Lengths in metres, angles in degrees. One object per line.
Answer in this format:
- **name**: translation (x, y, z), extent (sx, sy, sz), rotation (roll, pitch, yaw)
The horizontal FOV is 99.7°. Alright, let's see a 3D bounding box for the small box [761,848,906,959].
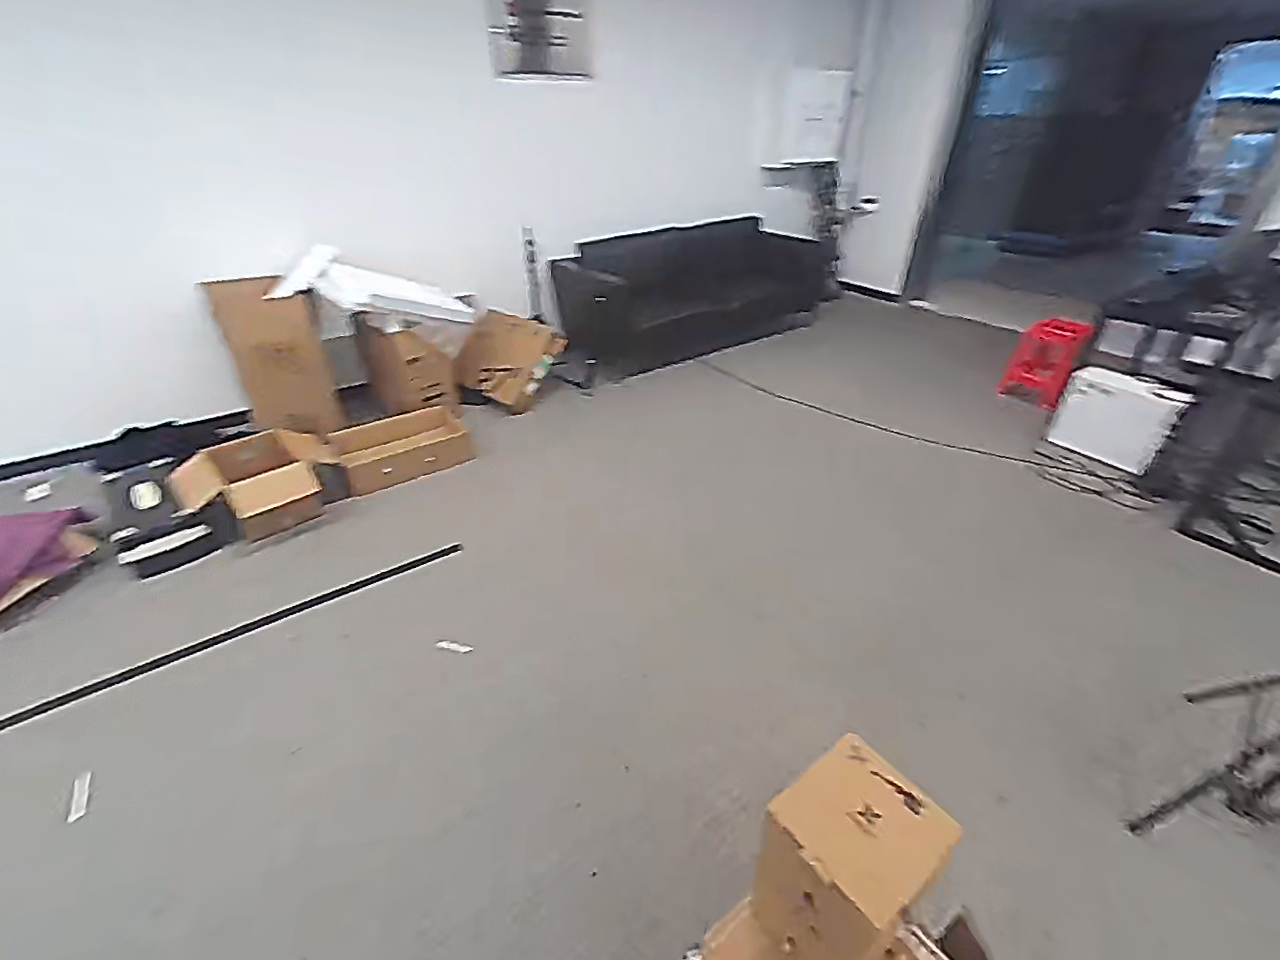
- **small box**: translation (0.299, 0.618, 0.818), extent (0.179, 0.176, 0.168), rotation (-25, 38, -28)

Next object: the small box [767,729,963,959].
- **small box**: translation (0.287, 0.486, 0.720), extent (0.179, 0.176, 0.168), rotation (-24, 38, -27)
